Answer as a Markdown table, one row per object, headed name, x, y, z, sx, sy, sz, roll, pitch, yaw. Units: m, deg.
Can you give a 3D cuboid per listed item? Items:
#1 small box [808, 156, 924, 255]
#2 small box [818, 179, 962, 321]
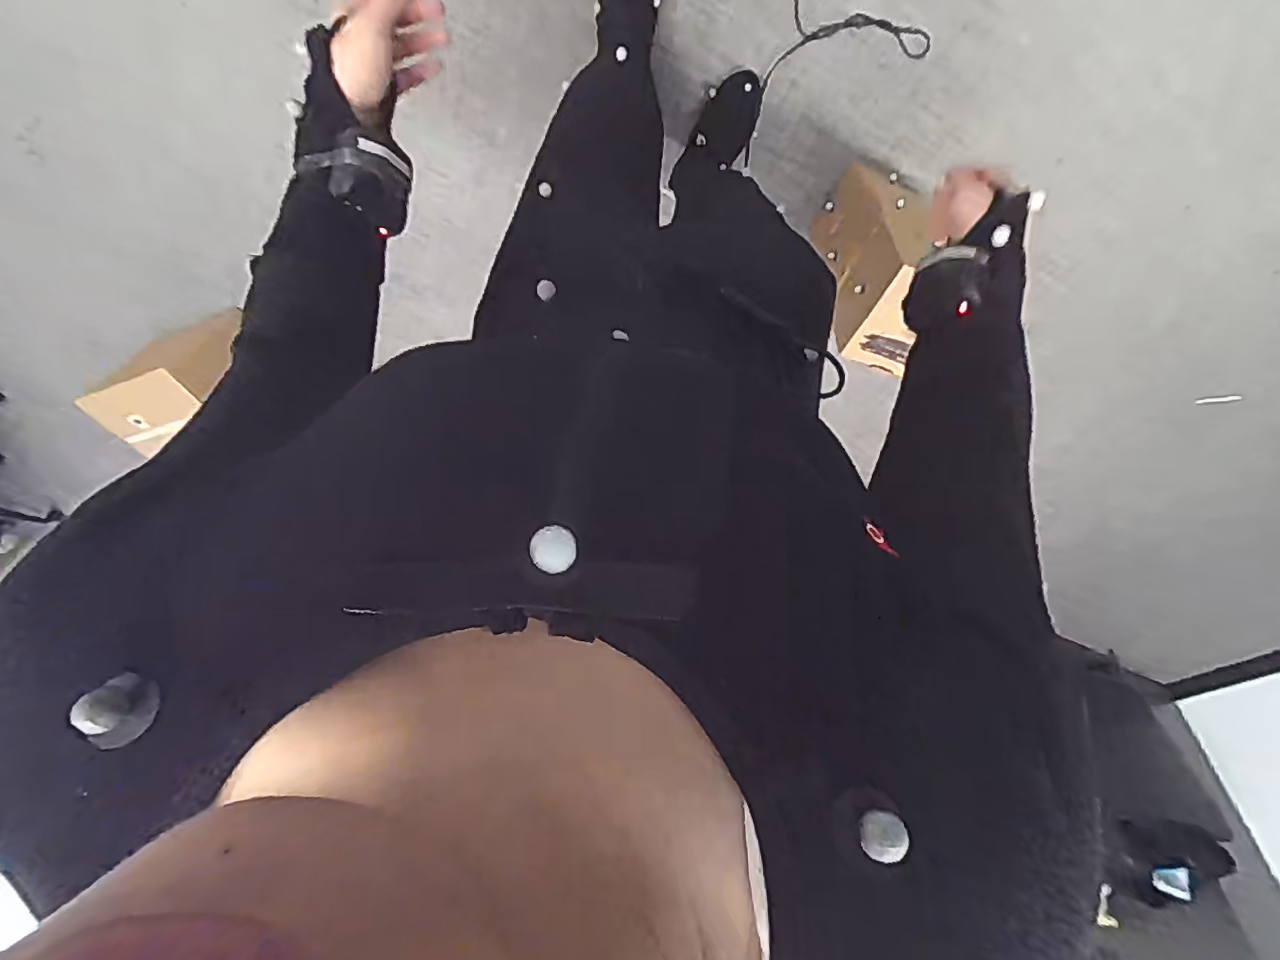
| name | x | y | z | sx | sy | sz | roll | pitch | yaw |
| --- | --- | --- | --- | --- | --- | --- | --- | --- | --- |
| small box | 0.480 | -0.559 | 1.154 | 0.179 | 0.176 | 0.168 | 21 | 137 | -13 |
| small box | 0.465 | -0.445 | 1.039 | 0.179 | 0.176 | 0.168 | 17 | 139 | -12 |
